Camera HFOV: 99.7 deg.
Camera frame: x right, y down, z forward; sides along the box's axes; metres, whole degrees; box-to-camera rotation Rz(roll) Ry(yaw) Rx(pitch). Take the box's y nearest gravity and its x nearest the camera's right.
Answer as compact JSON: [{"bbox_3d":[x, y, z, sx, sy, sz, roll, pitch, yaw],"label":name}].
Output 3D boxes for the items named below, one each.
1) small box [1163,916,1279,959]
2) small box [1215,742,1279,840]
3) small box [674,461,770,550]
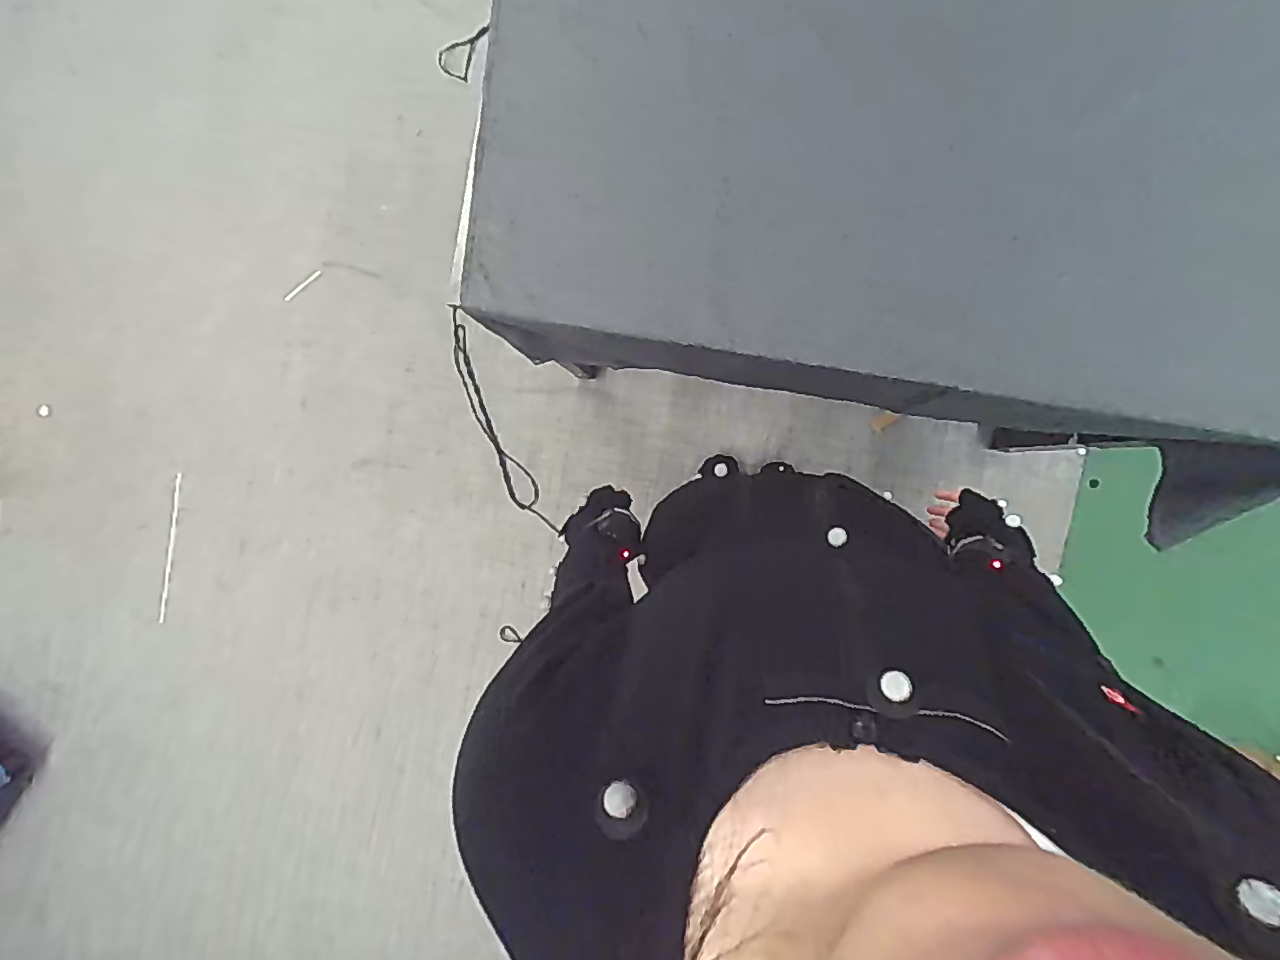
[{"bbox_3d":[1.433,1.201,1.296,0.179,0.176,0.168,11,93,7],"label":"small box"},{"bbox_3d":[1.535,0.748,1.270,0.179,0.176,0.168,16,94,6],"label":"small box"},{"bbox_3d":[0.212,0.065,1.426,0.168,0.176,0.179,-45,70,18],"label":"small box"}]
